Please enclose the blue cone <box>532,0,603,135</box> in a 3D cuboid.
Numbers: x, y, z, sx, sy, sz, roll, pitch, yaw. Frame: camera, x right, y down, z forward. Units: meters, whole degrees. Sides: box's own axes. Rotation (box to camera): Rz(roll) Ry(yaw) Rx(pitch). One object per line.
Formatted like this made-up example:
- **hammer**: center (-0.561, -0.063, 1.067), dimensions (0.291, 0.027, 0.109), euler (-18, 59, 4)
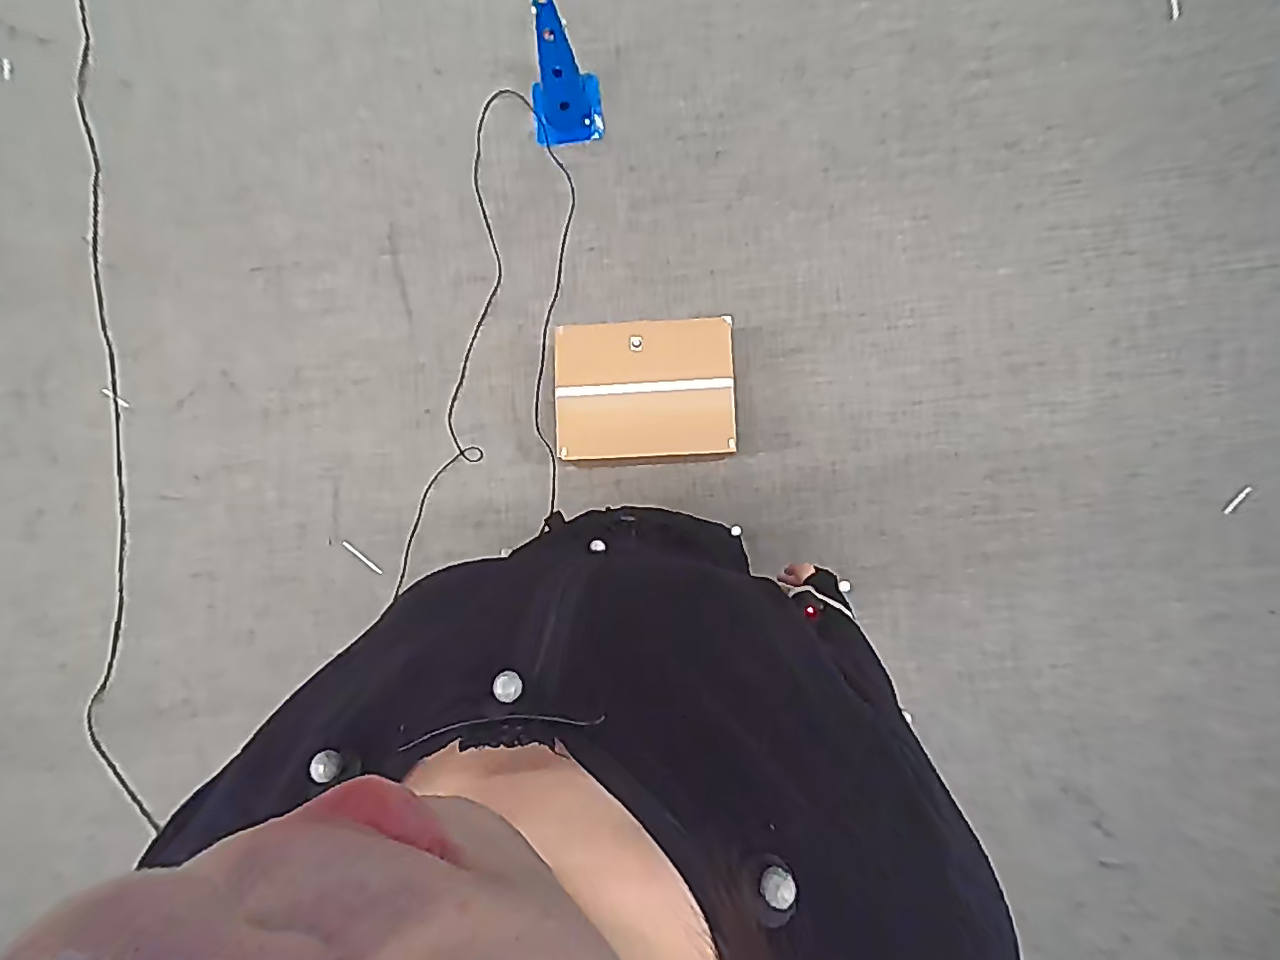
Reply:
- **blue cone**: center (-0.210, -1.096, 1.380), dimensions (0.193, 0.380, 0.192), euler (-9, 88, 0)
